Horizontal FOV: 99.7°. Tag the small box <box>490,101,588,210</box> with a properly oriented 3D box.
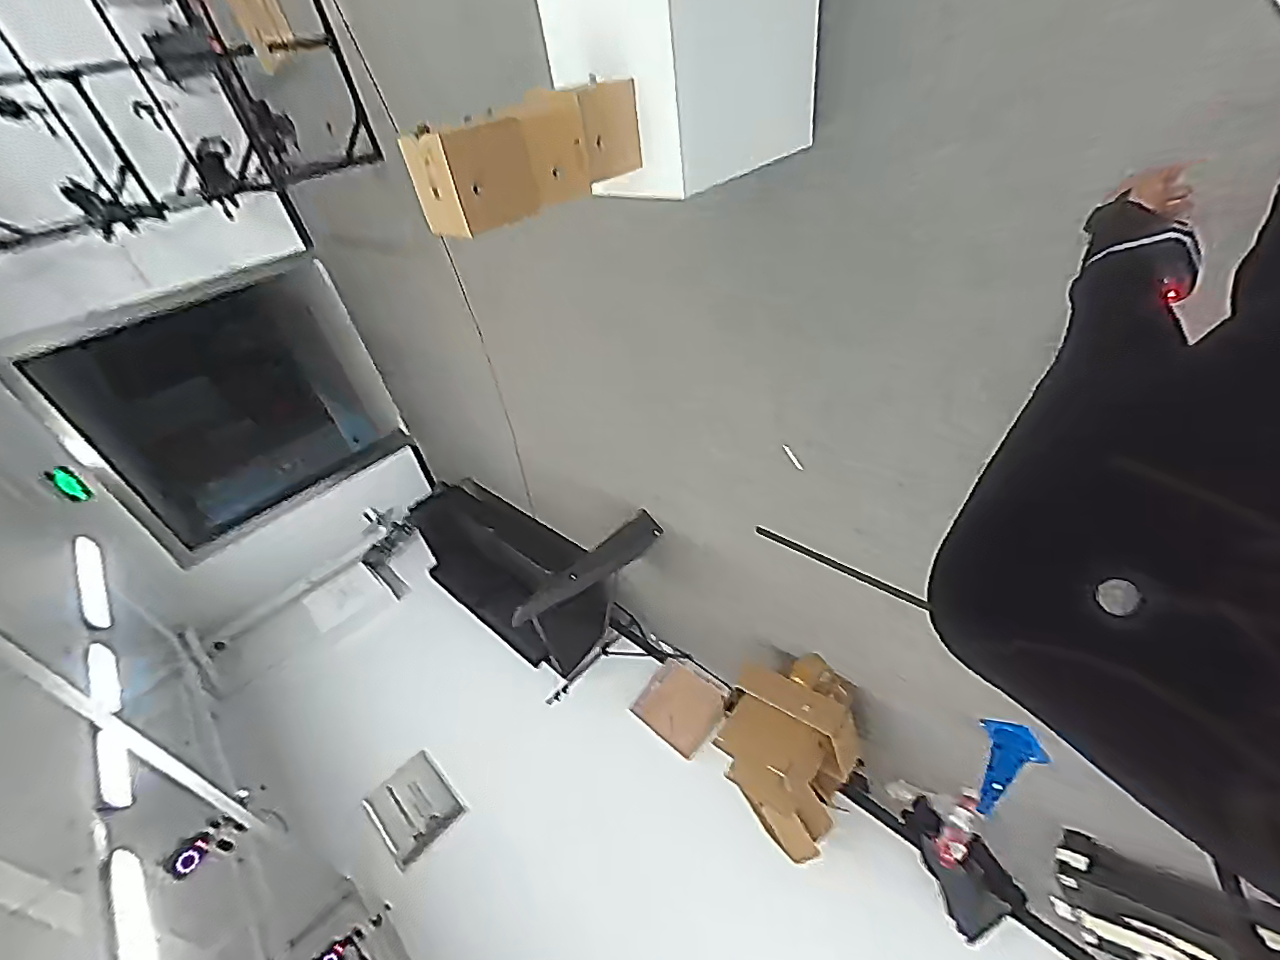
[{"bbox_3d":[-0.225,-0.694,1.149,0.179,0.176,0.168,30,143,35],"label":"small box"}]

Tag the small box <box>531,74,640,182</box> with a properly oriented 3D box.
[{"bbox_3d":[-0.115,-0.793,1.218,0.168,0.176,0.179,28,141,36],"label":"small box"}]

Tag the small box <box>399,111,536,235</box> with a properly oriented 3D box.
[{"bbox_3d":[-0.328,-0.602,1.059,0.168,0.176,0.179,27,141,37],"label":"small box"}]
